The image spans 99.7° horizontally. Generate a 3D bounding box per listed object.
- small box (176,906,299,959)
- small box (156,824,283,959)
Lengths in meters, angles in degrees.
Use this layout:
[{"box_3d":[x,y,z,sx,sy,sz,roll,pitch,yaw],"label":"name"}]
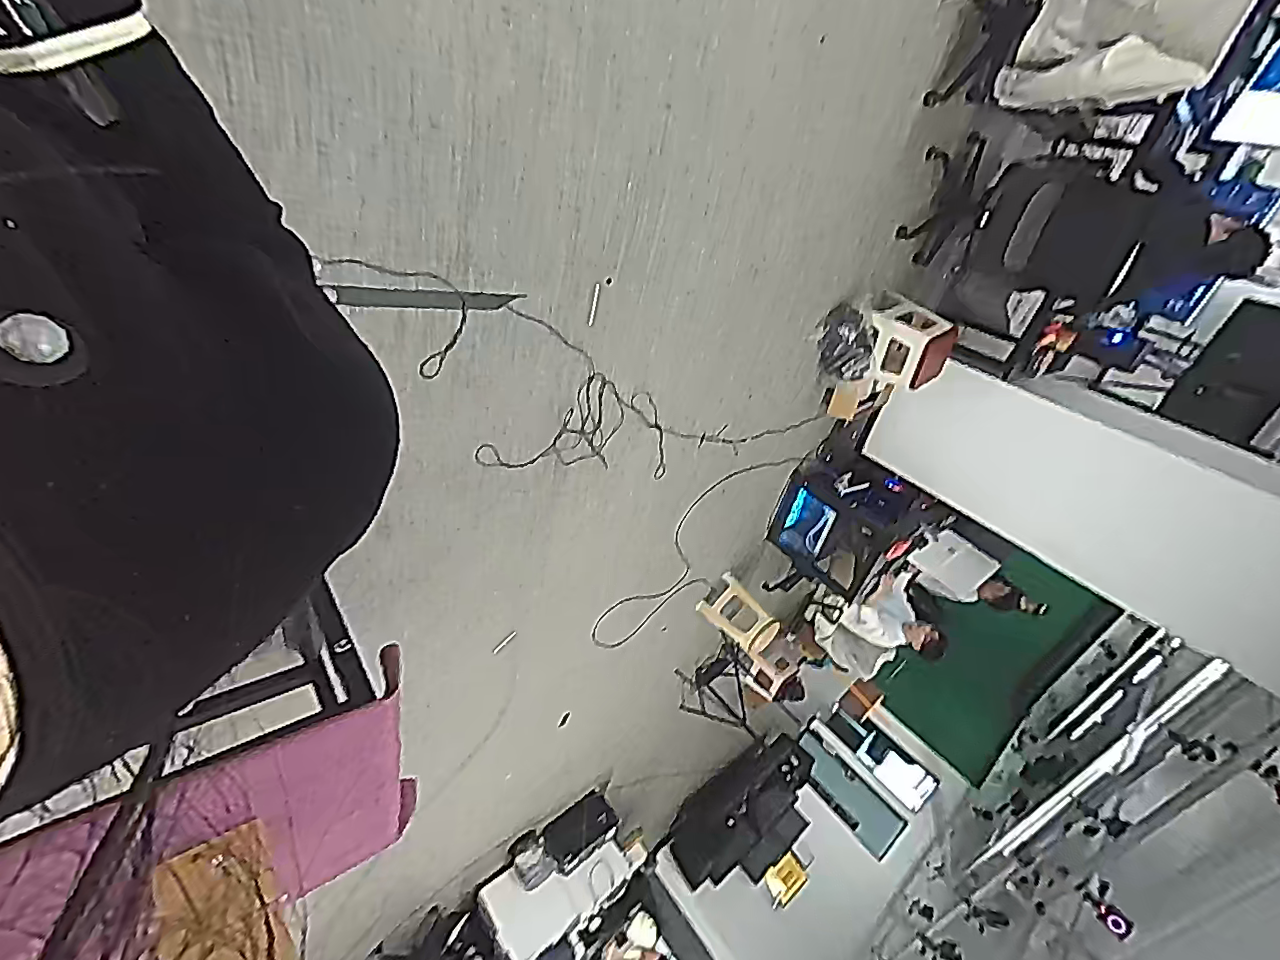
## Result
[{"box_3d":[-0.677,0.882,0.918,0.168,0.176,0.179,-12,130,-41],"label":"small box"},{"box_3d":[-0.780,0.796,1.012,0.168,0.176,0.179,-13,130,-41],"label":"small box"}]
